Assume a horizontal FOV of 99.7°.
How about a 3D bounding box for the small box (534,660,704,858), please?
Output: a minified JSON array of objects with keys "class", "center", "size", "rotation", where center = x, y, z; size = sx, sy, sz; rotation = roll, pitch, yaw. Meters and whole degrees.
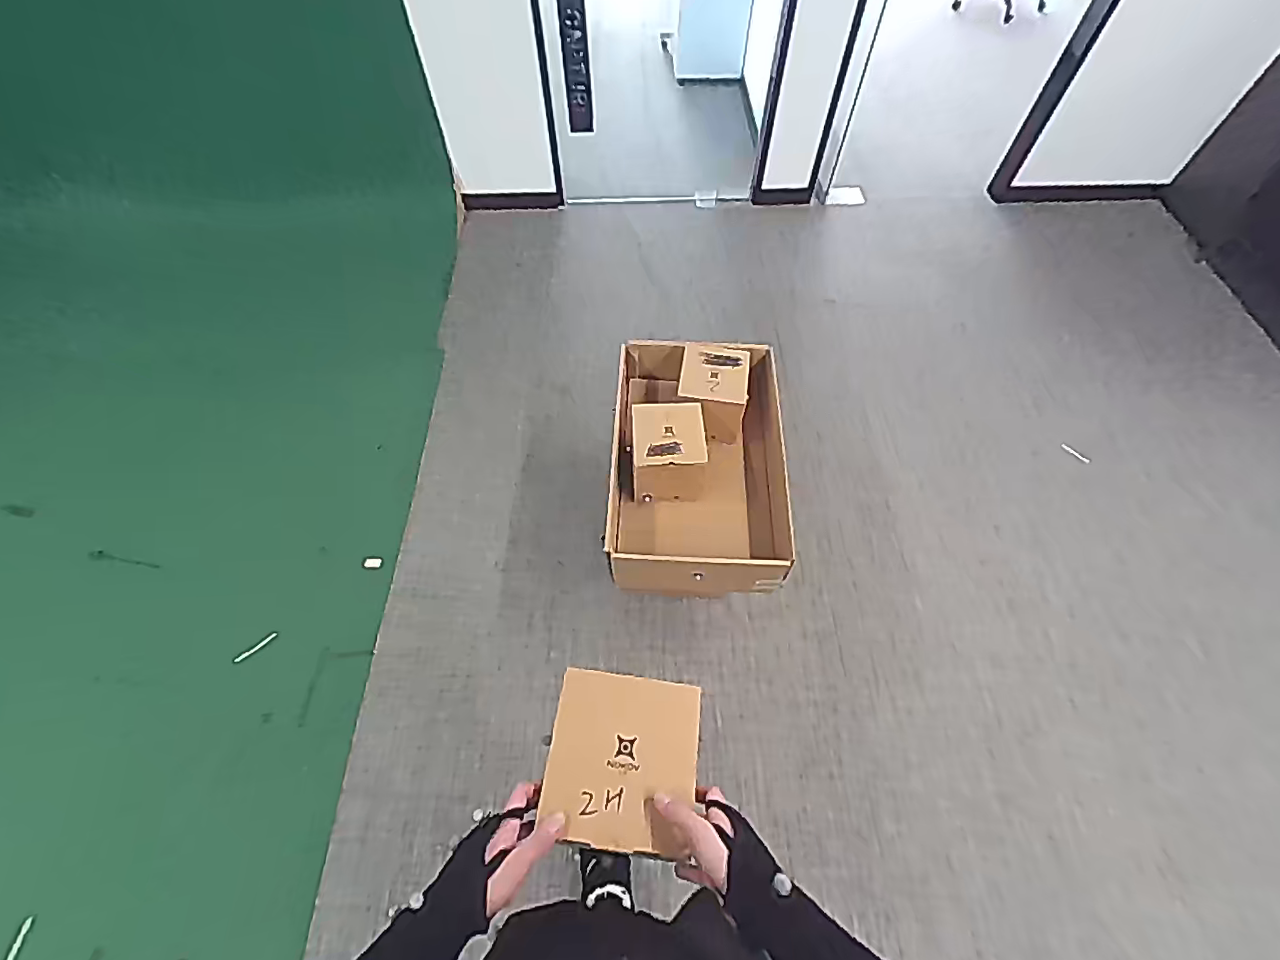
[{"class":"small box","center":[-0.023,0.343,0.660],"size":[0.168,0.176,0.179],"rotation":[9,55,2]}]
